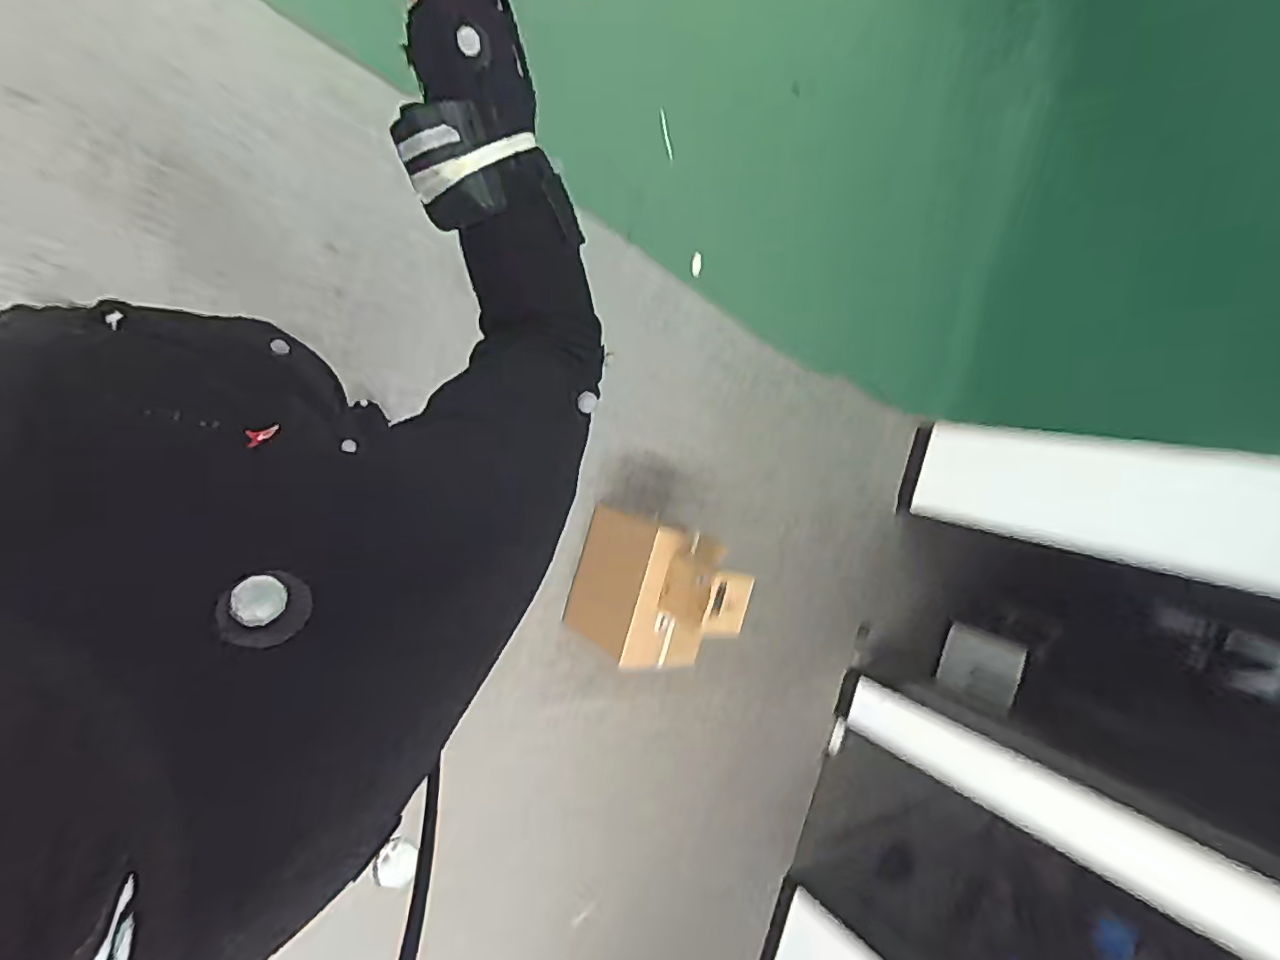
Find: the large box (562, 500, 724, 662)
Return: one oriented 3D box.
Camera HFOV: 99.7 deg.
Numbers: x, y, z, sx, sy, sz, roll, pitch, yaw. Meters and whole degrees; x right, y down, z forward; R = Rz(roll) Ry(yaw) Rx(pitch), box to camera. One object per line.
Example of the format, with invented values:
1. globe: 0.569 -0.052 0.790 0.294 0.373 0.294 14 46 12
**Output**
1. large box: 0.004 0.305 1.692 0.320 0.320 0.408 15 93 -40
